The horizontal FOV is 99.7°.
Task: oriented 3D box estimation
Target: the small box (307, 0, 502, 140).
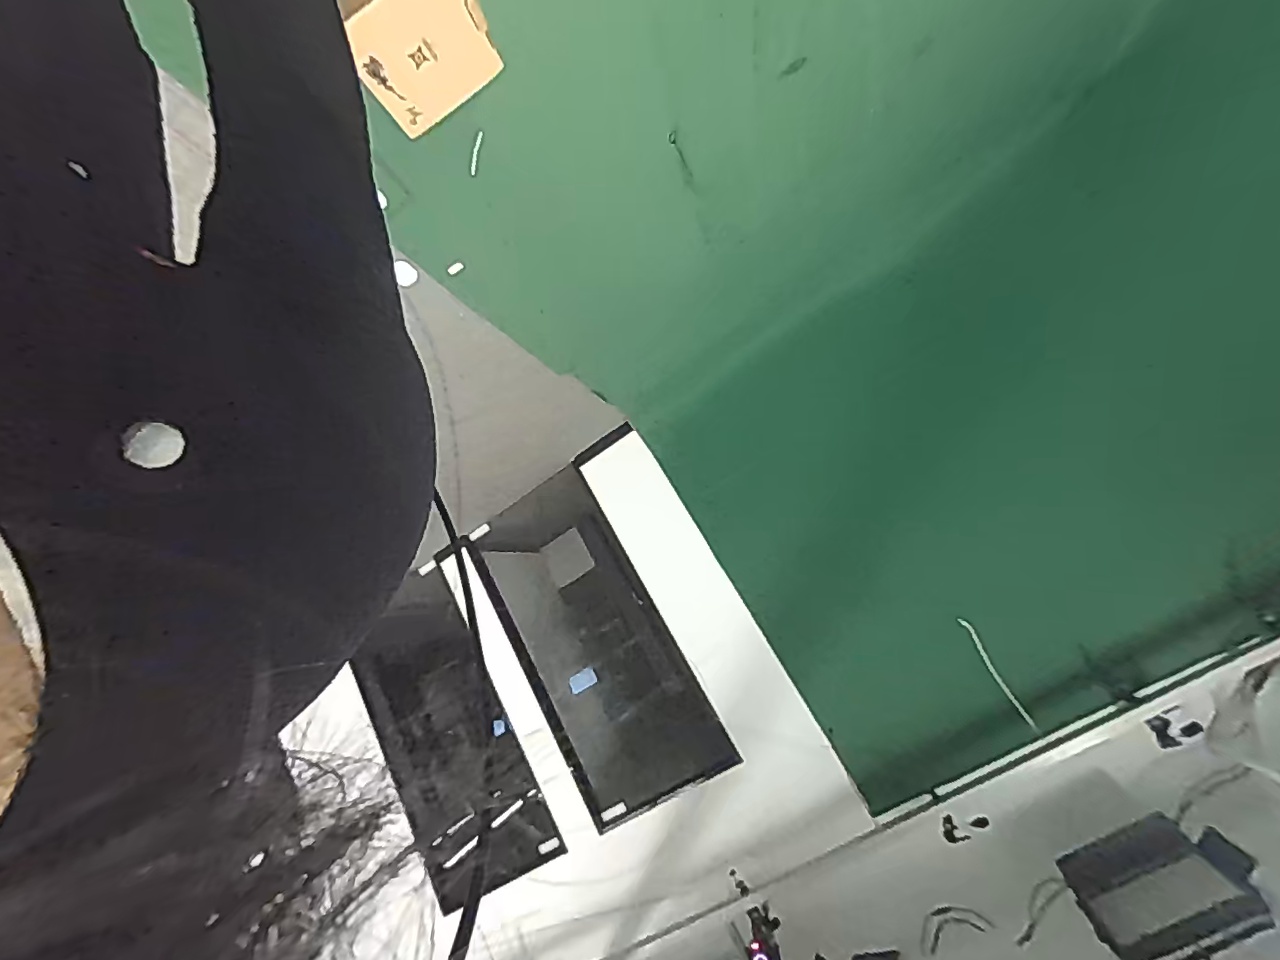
[{"bbox_3d":[-0.329,-0.631,0.741,0.179,0.176,0.168,-33,166,6],"label":"small box"}]
